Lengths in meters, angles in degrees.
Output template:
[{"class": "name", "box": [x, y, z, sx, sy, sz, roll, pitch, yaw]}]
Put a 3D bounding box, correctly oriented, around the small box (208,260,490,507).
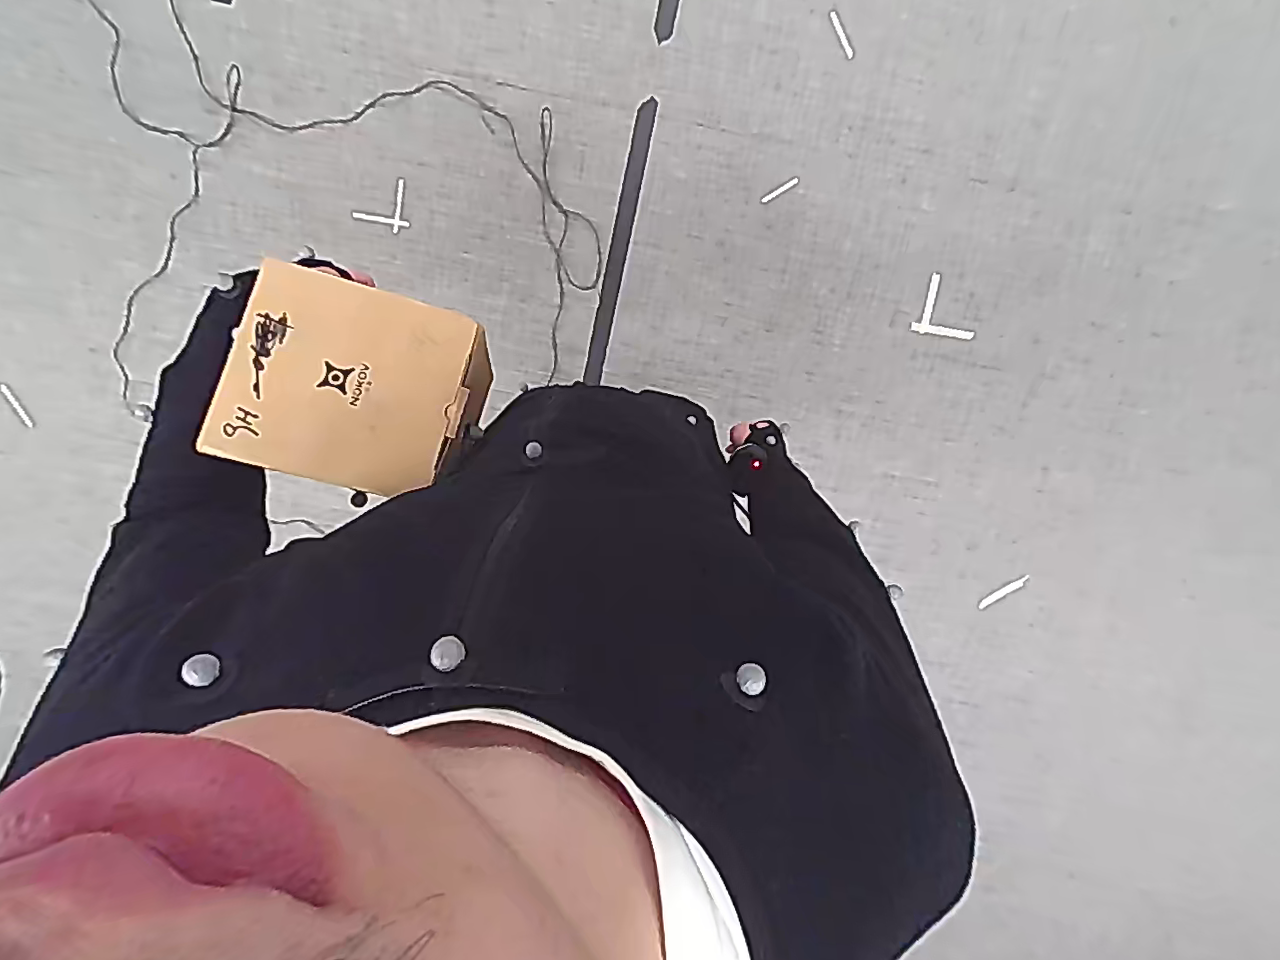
[{"class": "small box", "box": [-0.252, -0.074, 0.523, 0.179, 0.176, 0.168, 16, 81, -11]}]
